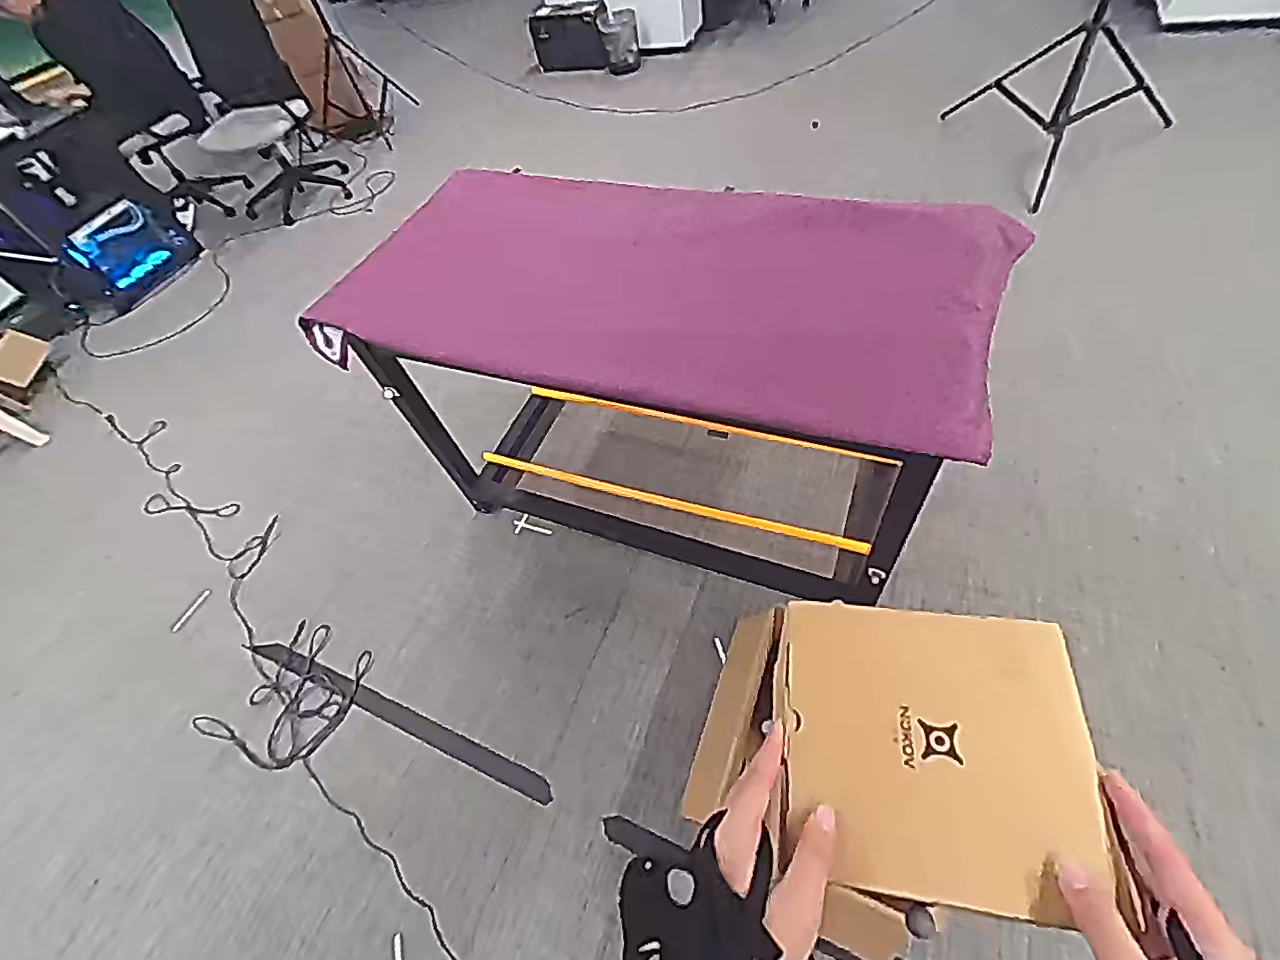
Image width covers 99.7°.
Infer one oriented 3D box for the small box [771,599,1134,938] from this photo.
[{"bbox_3d":[0.191,0.202,0.397,0.179,0.176,0.168,2,57,13],"label":"small box"}]
